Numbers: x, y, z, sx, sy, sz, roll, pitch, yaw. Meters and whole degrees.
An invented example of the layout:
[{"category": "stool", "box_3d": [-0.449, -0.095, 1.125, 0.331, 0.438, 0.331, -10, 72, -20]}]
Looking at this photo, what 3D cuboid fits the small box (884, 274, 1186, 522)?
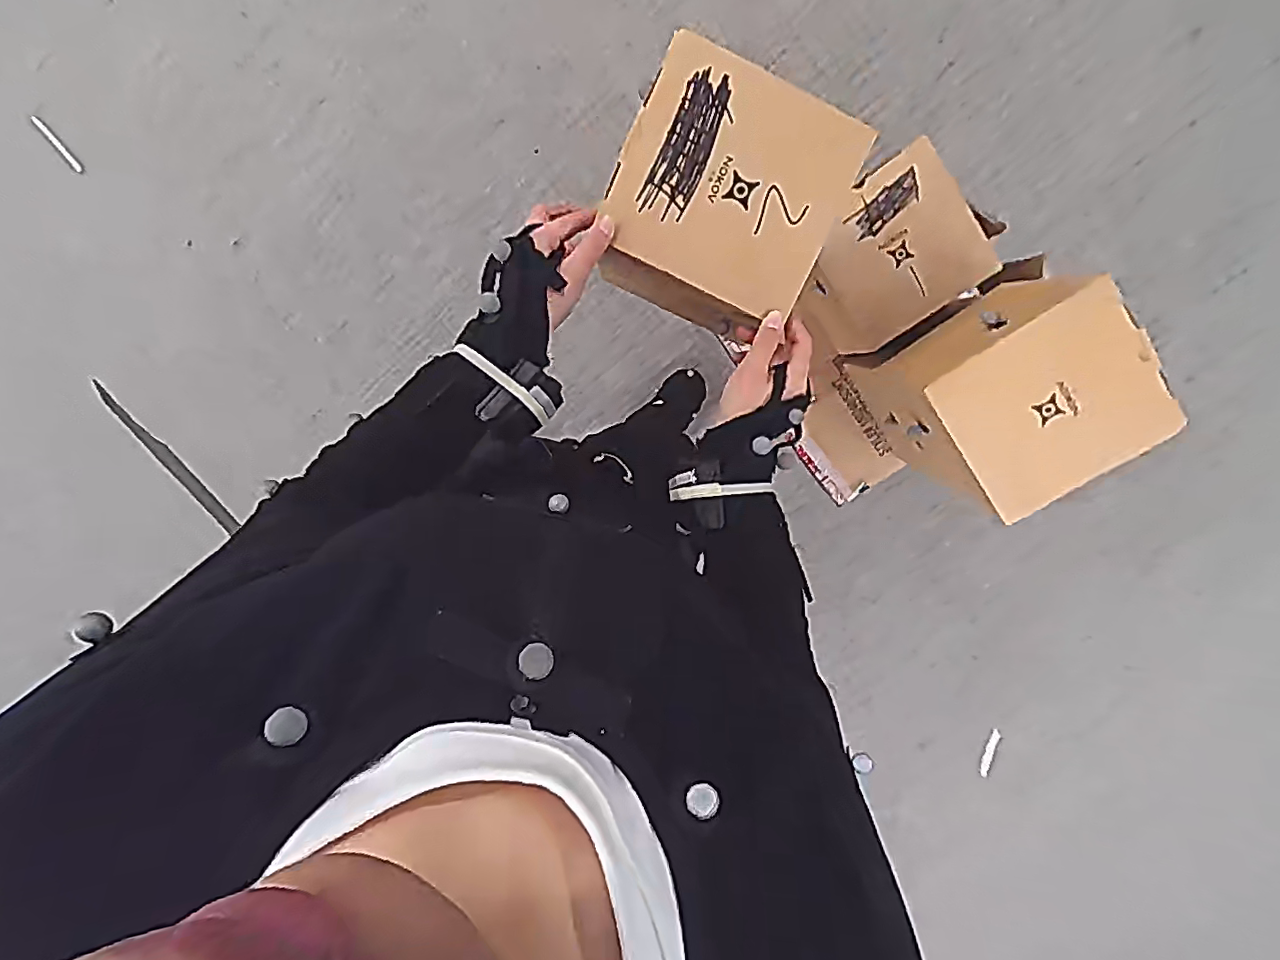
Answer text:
[{"category": "small box", "box_3d": [0.386, -0.087, 0.572, 0.179, 0.176, 0.168, -35, 99, 13]}]
